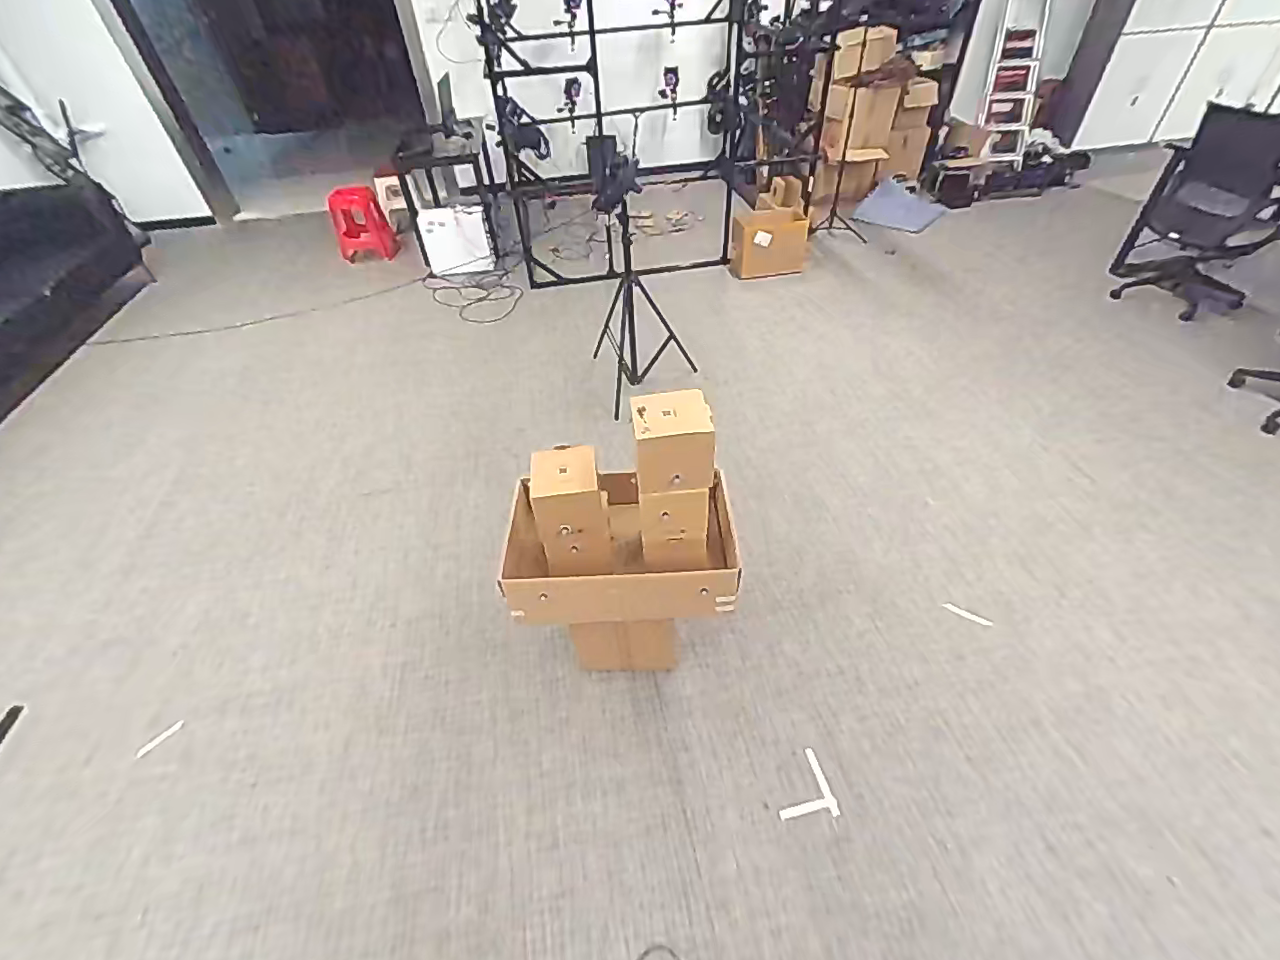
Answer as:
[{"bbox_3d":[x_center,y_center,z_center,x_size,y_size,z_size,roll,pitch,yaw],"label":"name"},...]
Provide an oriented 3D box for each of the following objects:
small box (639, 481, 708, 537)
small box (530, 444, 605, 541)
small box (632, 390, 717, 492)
[{"bbox_3d":[0.082,0.032,1.376,0.168,0.176,0.179,-5,42,0],"label":"small box"},{"bbox_3d":[-0.183,0.033,1.394,0.168,0.176,0.179,-7,43,-3],"label":"small box"},{"bbox_3d":[0.075,-0.090,1.267,0.179,0.176,0.168,-6,42,-2],"label":"small box"}]
